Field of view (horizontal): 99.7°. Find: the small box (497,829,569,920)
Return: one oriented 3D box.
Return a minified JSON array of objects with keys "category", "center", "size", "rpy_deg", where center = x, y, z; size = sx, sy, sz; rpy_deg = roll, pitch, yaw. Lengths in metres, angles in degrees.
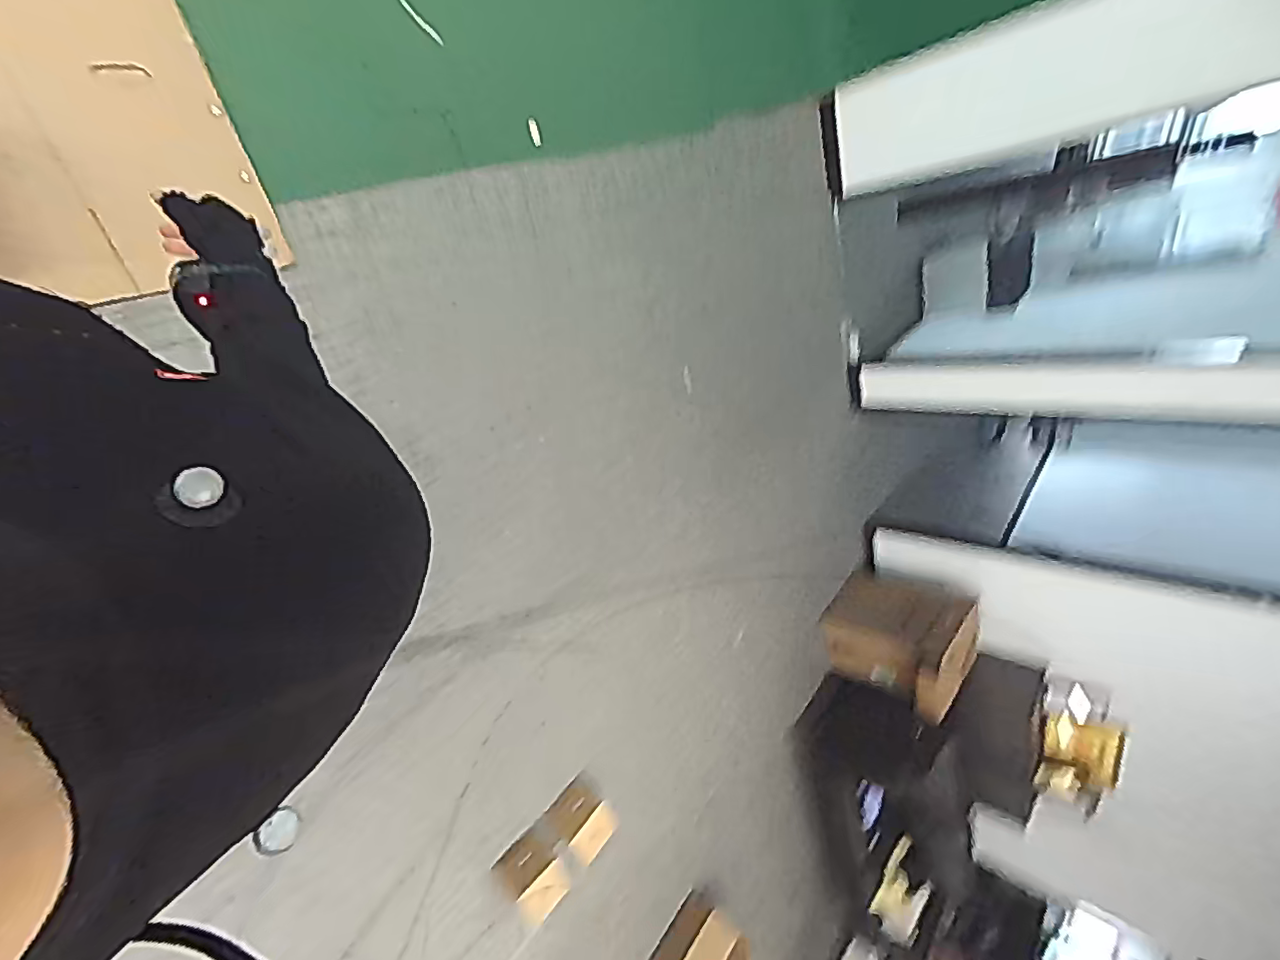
[{"category":"small box","center":[-0.385,1.398,1.934],"size":[0.168,0.176,0.179],"rpy_deg":[-30,118,-38]}]

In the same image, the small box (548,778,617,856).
[{"category":"small box","center":[-0.223,1.286,2.082],"size":[0.168,0.176,0.179],"rpy_deg":[-42,125,-33]}]
